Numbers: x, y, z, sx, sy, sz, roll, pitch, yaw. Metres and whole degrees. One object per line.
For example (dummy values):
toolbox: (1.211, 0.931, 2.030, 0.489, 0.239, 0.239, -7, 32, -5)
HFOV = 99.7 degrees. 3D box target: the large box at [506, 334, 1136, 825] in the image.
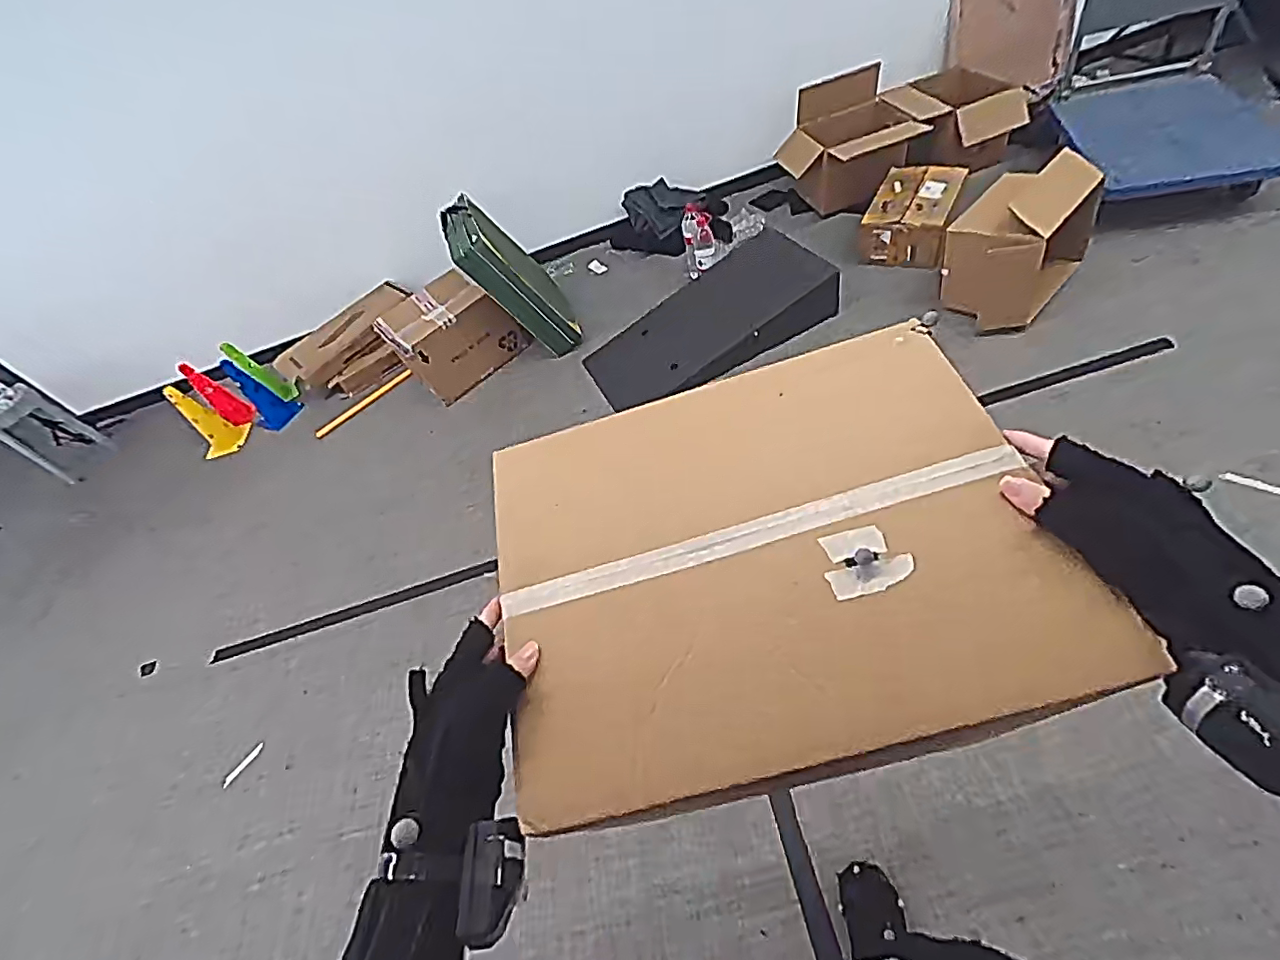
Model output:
large box: (0.121, 0.123, 0.551, 0.408, 0.320, 0.320, -17, 57, 4)
